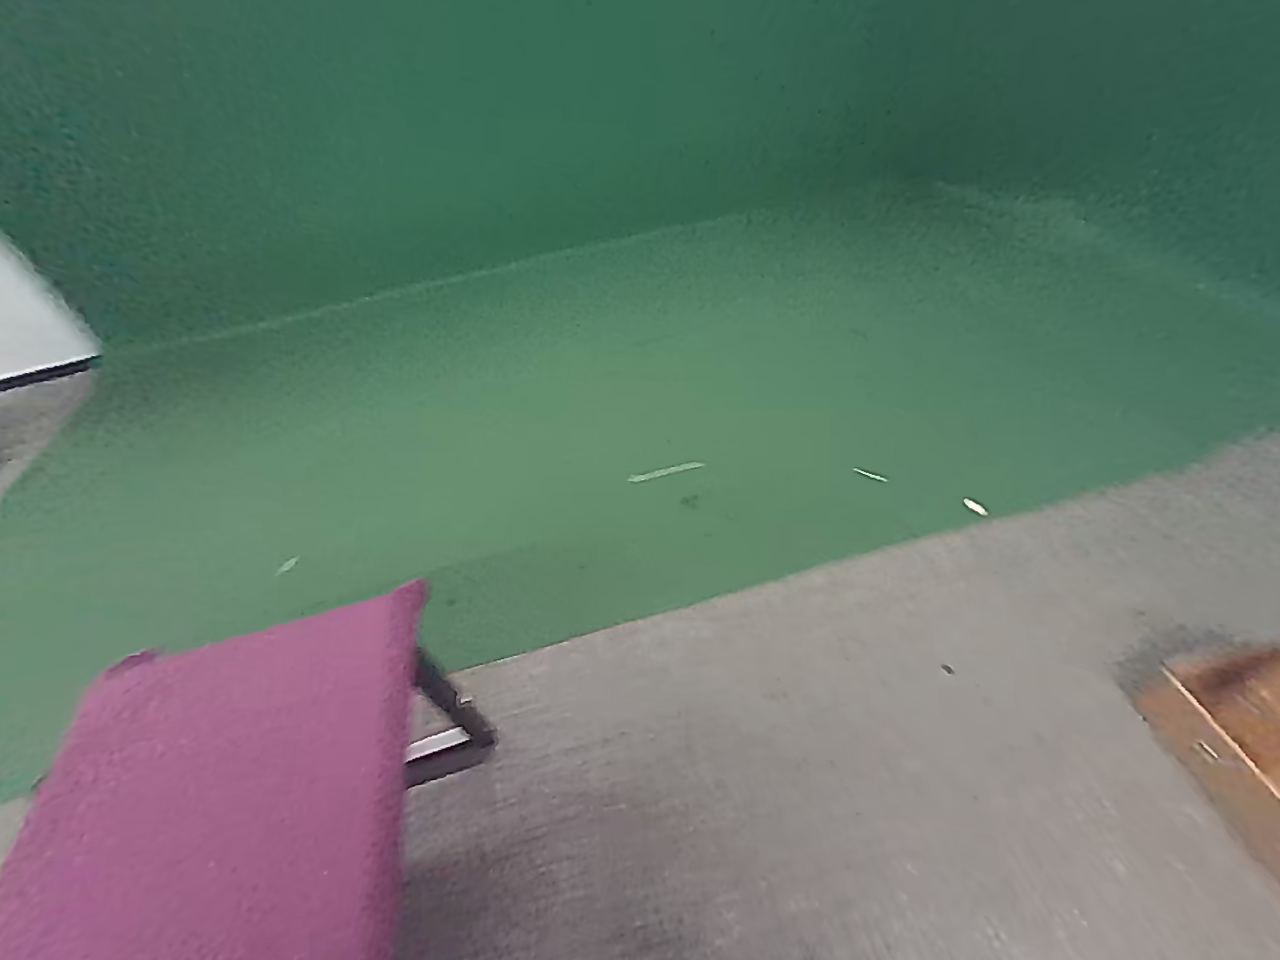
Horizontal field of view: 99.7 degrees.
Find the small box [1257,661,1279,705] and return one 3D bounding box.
[{"bbox_3d":[1.512,0.442,1.148,0.179,0.176,0.168,-12,46,-2],"label":"small box"}]
